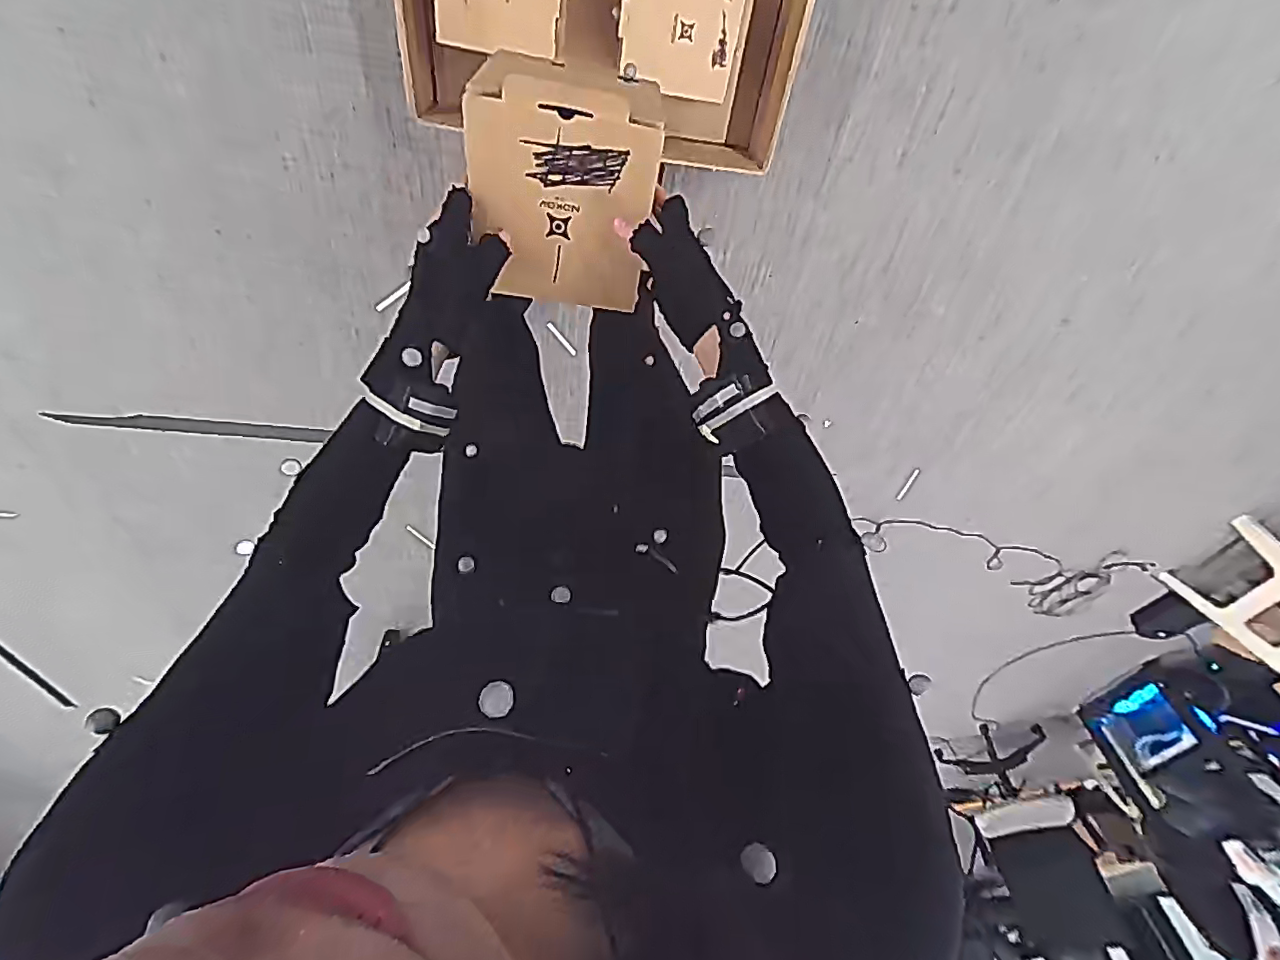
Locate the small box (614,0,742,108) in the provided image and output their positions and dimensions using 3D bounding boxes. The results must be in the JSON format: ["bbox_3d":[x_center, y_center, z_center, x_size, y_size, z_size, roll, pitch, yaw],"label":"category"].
[{"bbox_3d":[0.054,-0.722,0.868,0.179,0.176,0.168,5,133,-7],"label":"small box"}]

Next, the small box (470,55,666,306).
[{"bbox_3d":[-0.073,-0.309,0.559,0.168,0.176,0.179,6,136,-7],"label":"small box"}]

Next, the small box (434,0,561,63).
[{"bbox_3d":[-0.208,-0.747,0.822,0.179,0.176,0.168,5,132,-10],"label":"small box"}]
